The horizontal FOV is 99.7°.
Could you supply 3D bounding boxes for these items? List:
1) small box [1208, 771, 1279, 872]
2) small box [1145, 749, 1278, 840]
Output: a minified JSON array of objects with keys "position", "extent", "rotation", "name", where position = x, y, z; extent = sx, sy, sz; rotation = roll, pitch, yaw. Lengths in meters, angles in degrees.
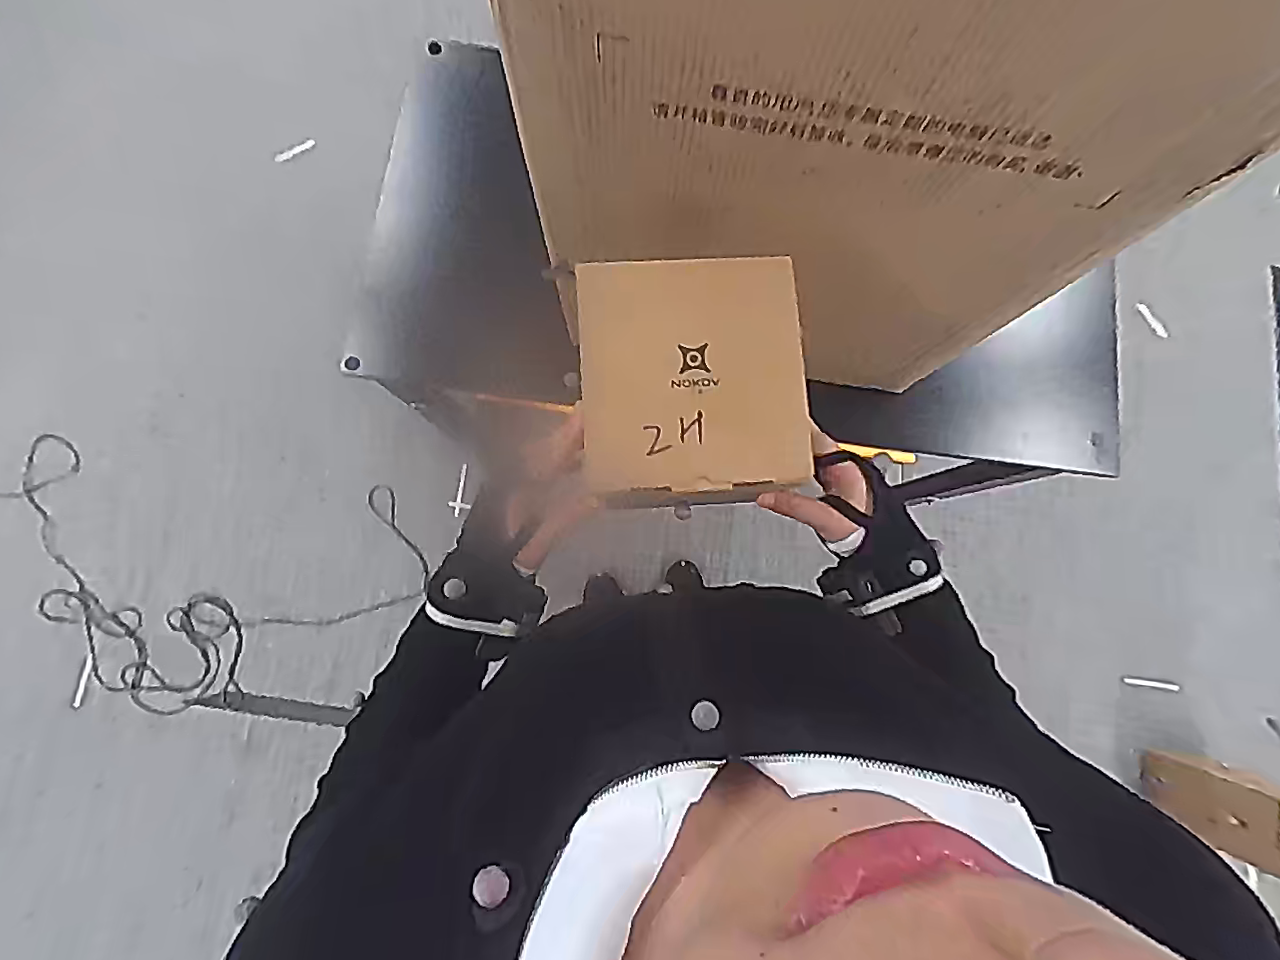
[{"position":[1.442,0.778,1.218],"extent":[0.179,0.176,0.168],"rotation":[8,80,0],"name":"small box"},{"position":[1.455,0.804,1.380],"extent":[0.179,0.176,0.168],"rotation":[6,80,0],"name":"small box"}]
